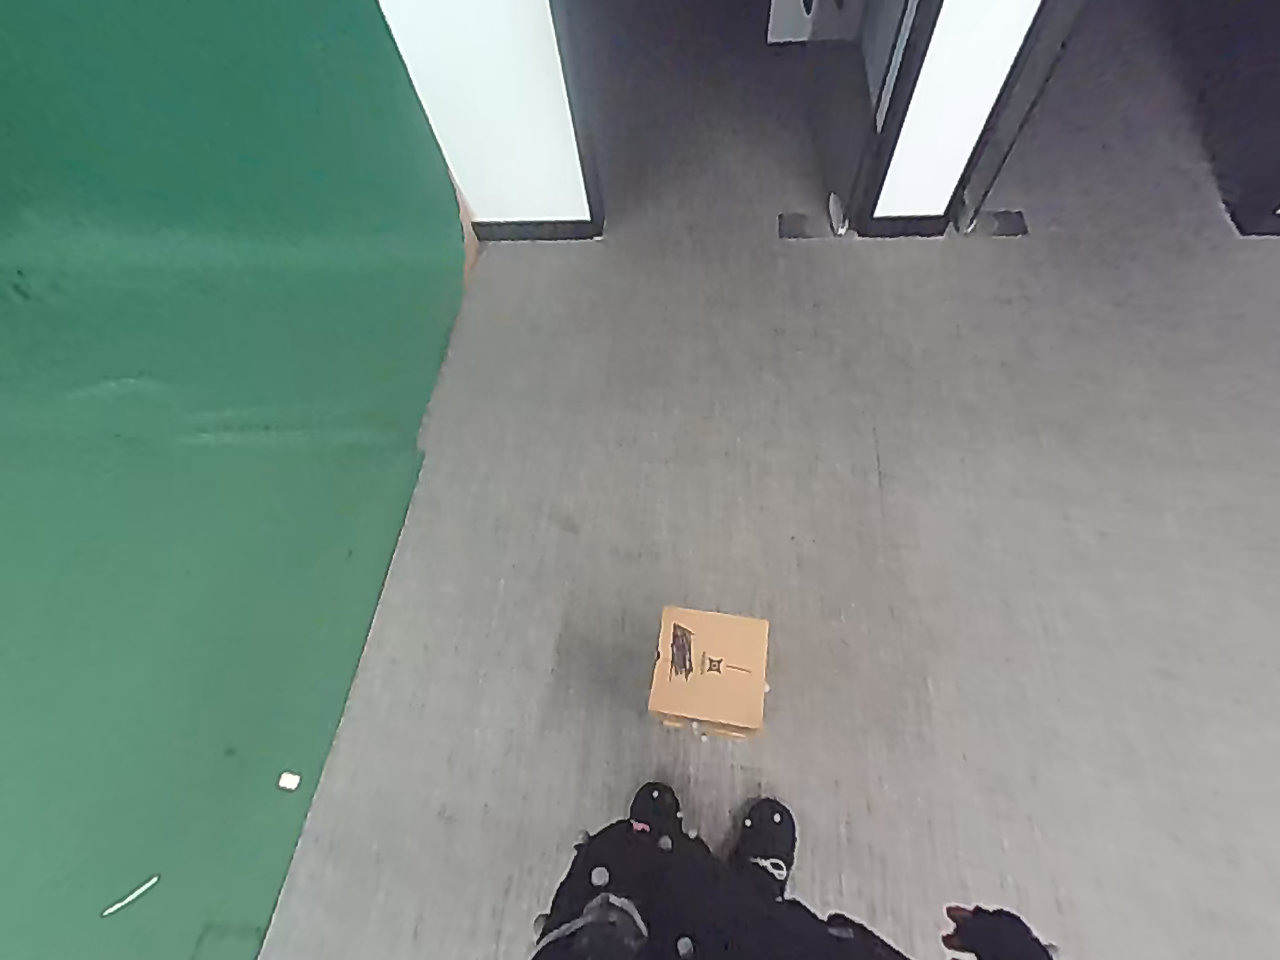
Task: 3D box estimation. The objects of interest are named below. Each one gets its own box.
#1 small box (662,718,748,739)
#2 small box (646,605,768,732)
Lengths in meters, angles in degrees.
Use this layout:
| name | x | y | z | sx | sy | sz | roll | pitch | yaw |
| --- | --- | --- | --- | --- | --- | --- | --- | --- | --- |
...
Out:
| name | x | y | z | sx | sy | sz | roll | pitch | yaw |
| --- | --- | --- | --- | --- | --- | --- | --- | --- | --- |
| small box | 0.150 | 0.479 | 1.214 | 0.179 | 0.176 | 0.168 | 6 | 64 | 9 |
| small box | 0.117 | 0.328 | 0.926 | 0.179 | 0.176 | 0.168 | 6 | 64 | 10 |
